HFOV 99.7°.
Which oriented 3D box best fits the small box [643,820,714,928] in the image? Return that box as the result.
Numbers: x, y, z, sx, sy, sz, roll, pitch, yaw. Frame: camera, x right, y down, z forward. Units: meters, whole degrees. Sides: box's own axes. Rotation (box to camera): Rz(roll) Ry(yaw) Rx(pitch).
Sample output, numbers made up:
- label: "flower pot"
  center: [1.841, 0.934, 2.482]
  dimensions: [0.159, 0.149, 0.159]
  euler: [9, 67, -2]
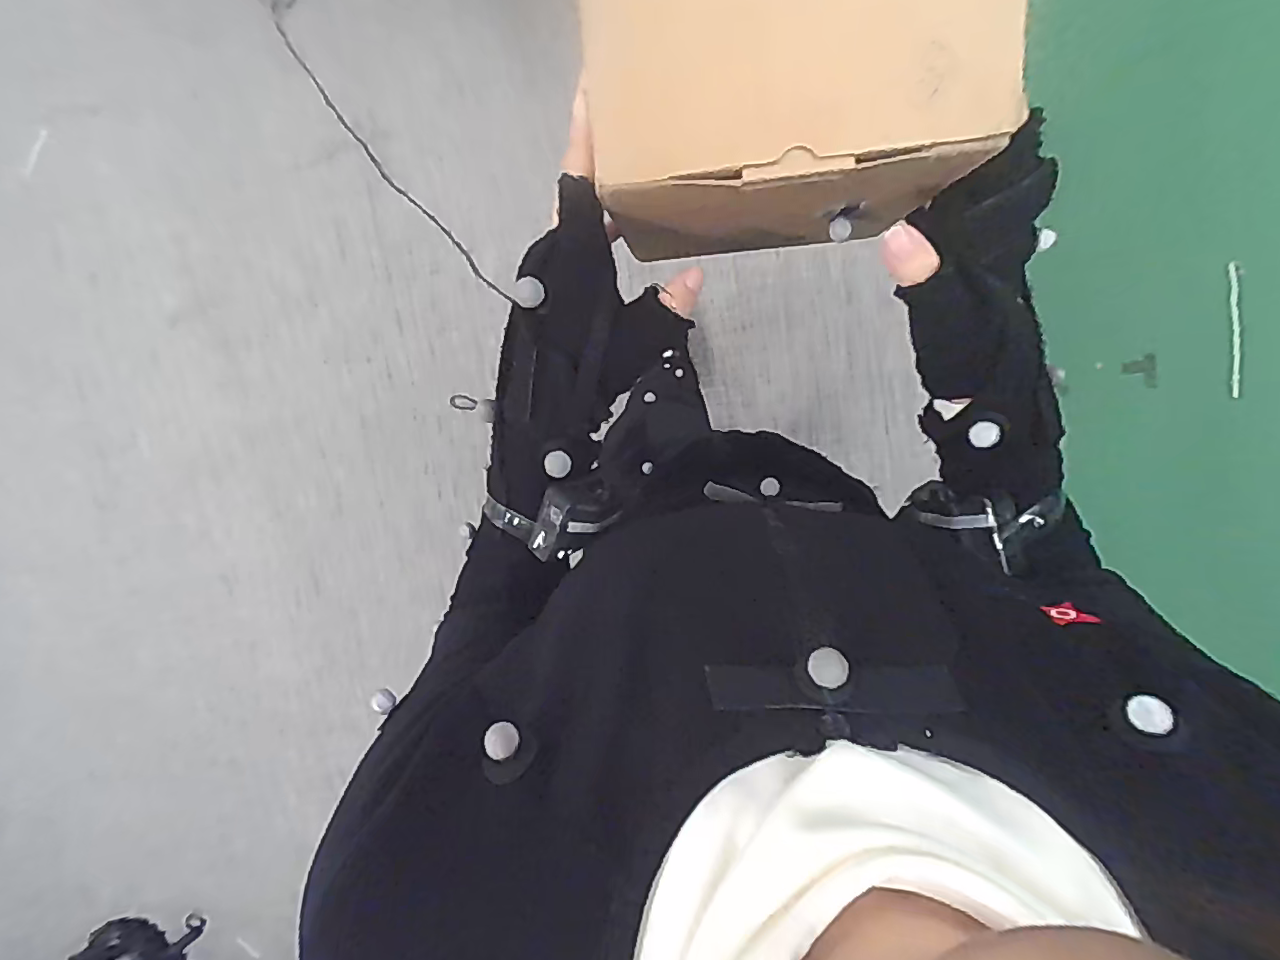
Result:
- label: "small box"
  center: [0.104, 1.059, 1.470]
  dimensions: [0.168, 0.176, 0.179]
  euler: [-9, 98, 5]

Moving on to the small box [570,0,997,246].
- label: "small box"
  center: [0.059, -0.231, 0.283]
  dimensions: [0.168, 0.176, 0.179]
  euler: [-3, 101, 6]
